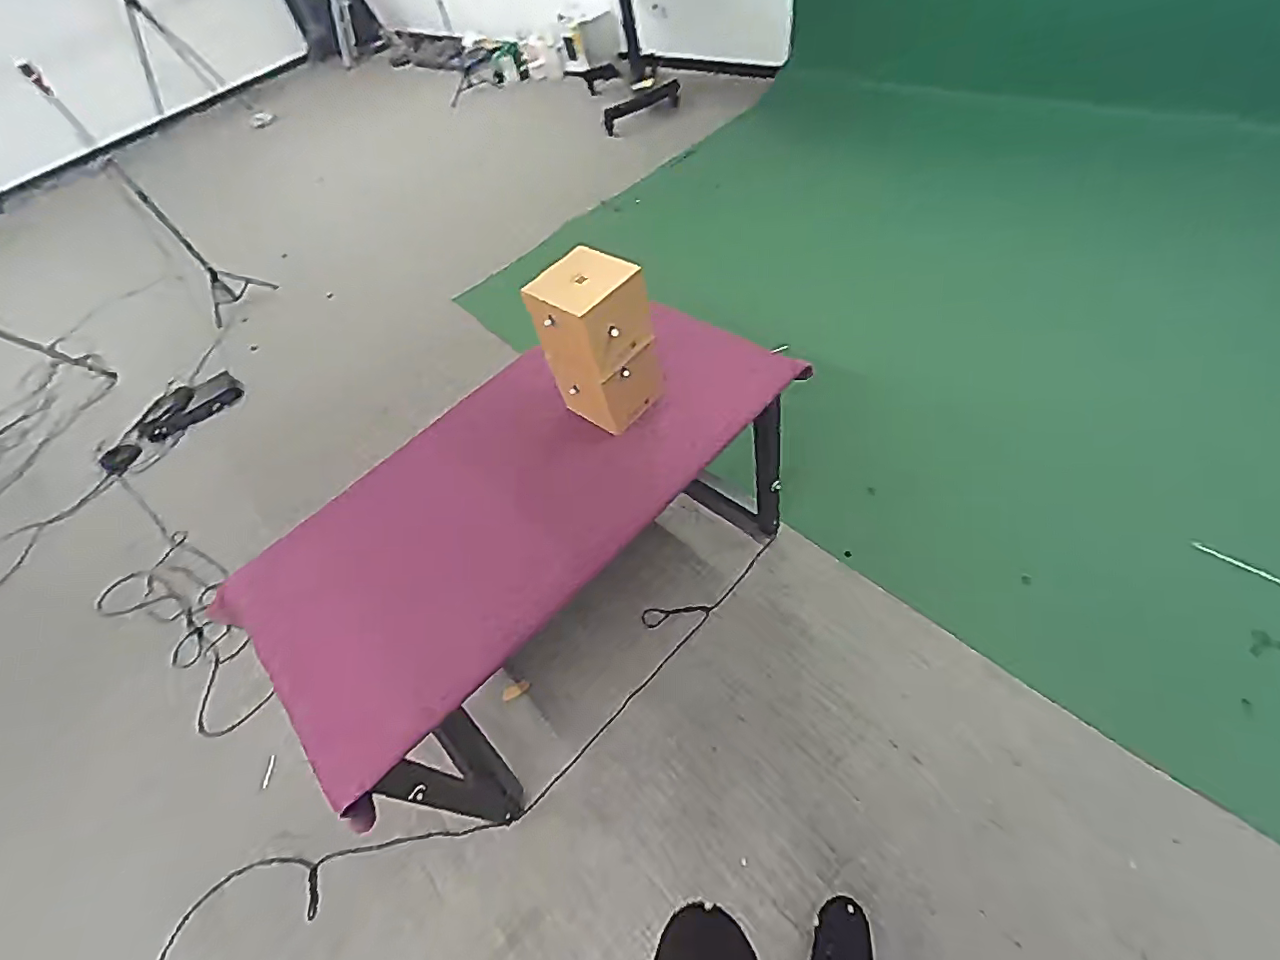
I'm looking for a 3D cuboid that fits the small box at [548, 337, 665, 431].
[{"bbox_3d":[-0.069,-0.237,1.203,0.179,0.176,0.168,31,67,32],"label":"small box"}]

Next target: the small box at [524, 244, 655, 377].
[{"bbox_3d":[-0.091,-0.329,1.069,0.179,0.176,0.168,33,67,32],"label":"small box"}]
